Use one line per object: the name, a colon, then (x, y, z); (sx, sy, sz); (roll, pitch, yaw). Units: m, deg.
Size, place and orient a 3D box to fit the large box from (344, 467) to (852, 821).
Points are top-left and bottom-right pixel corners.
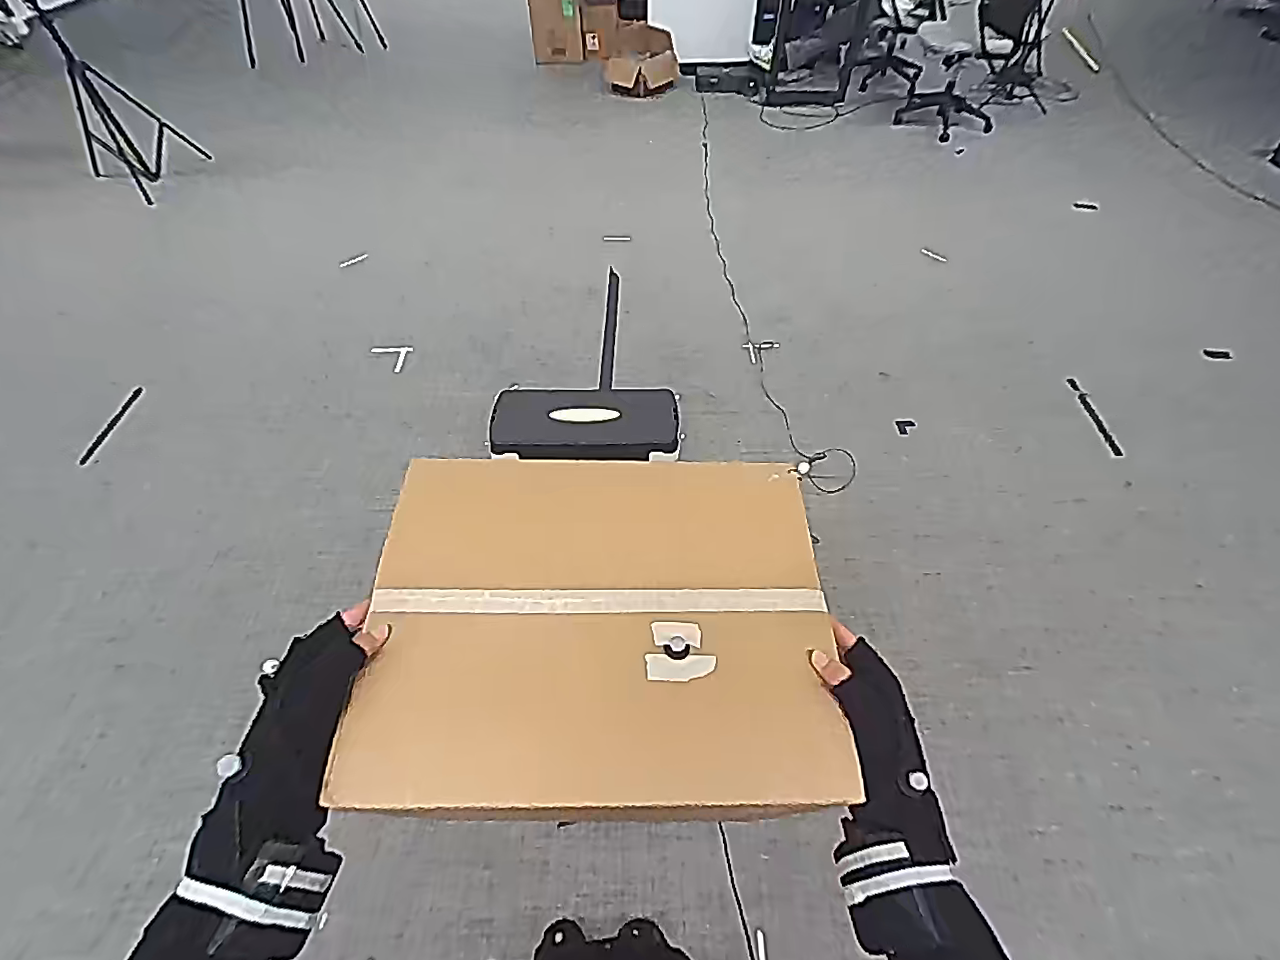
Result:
large box: (-0.038, 0.198, 0.622); (0.408, 0.320, 0.320); (1, 56, -2)
